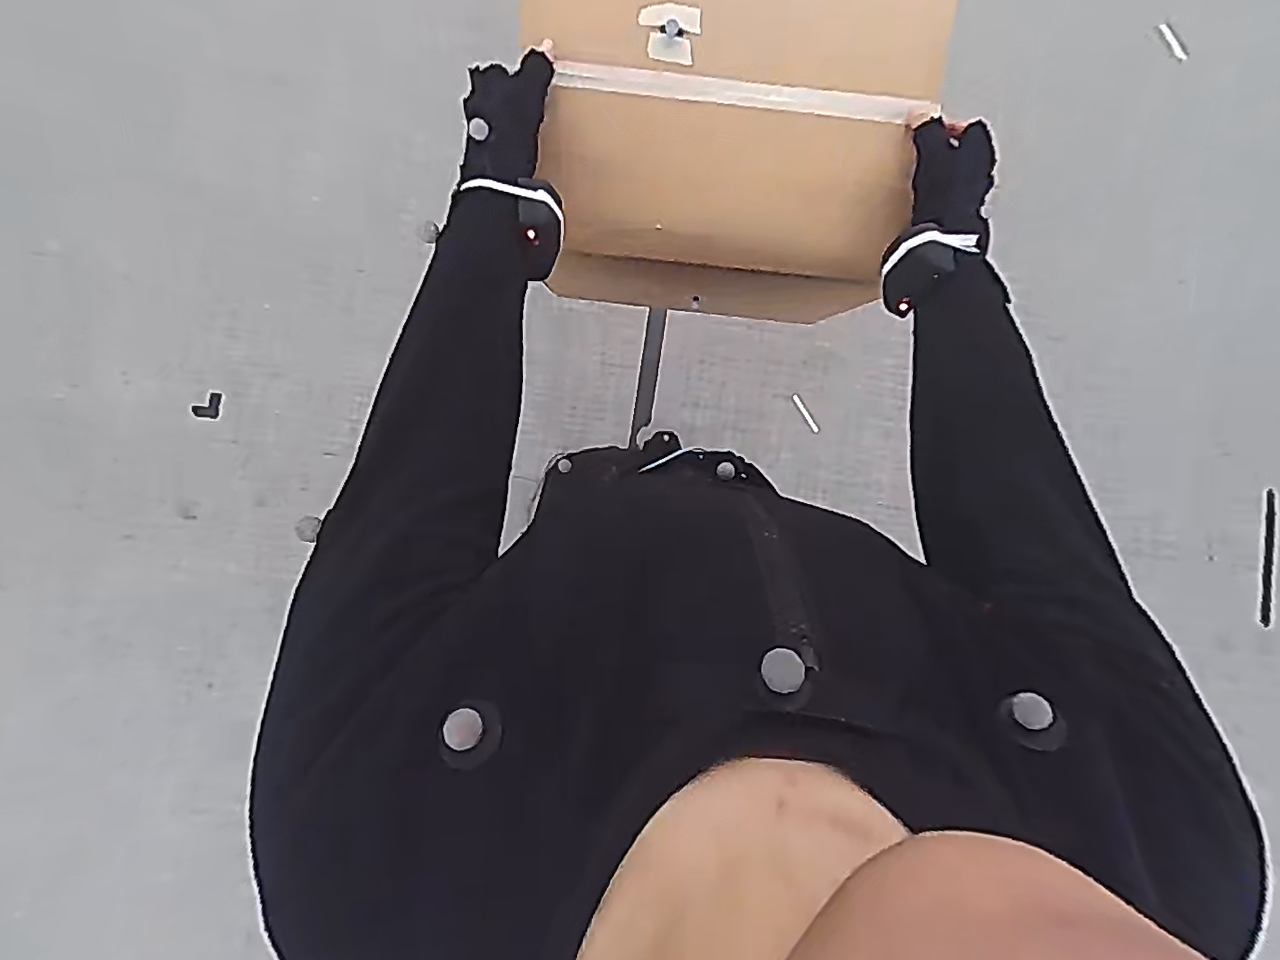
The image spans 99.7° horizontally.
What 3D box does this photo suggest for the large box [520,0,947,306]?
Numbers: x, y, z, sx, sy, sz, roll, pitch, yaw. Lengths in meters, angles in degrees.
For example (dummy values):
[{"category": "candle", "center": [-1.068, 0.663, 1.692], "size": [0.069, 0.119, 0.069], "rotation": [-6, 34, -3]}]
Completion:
[{"category": "large box", "center": [0.087, -0.407, 0.673], "size": [0.408, 0.320, 0.320], "rotation": [5, 99, -2]}]
